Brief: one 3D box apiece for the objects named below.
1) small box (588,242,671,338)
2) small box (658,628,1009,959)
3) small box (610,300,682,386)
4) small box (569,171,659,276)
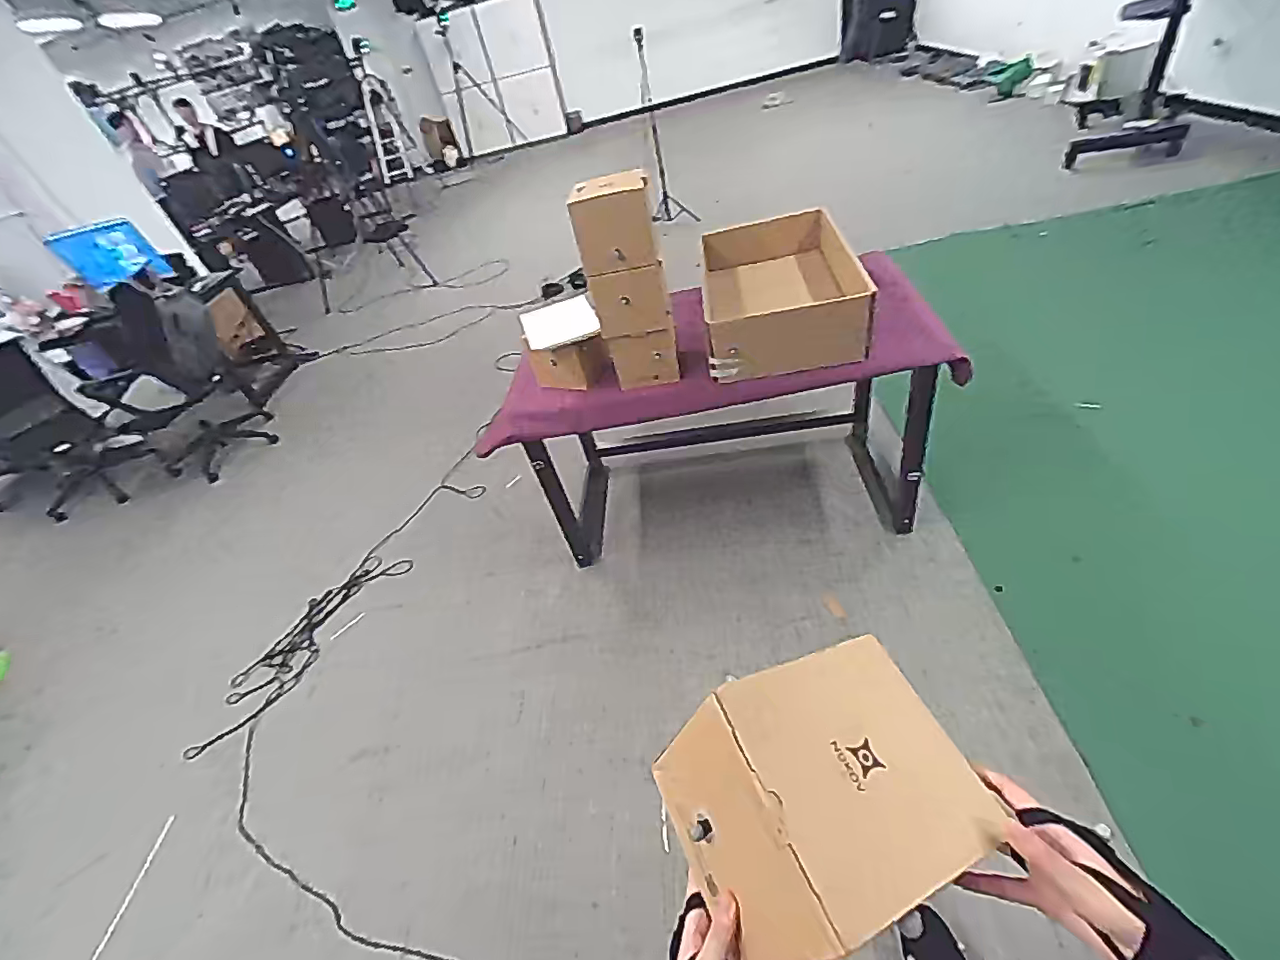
[{"bbox_3d":[-0.019,-0.485,1.387,0.179,0.176,0.168,-7,41,10],"label":"small box"},{"bbox_3d":[0.140,0.254,0.450,0.179,0.176,0.168,-9,50,-27],"label":"small box"},{"bbox_3d":[0.023,-0.373,1.500,0.168,0.176,0.179,-7,41,10],"label":"small box"},{"bbox_3d":[-0.053,-0.604,1.279,0.179,0.176,0.168,-6,41,9],"label":"small box"}]
